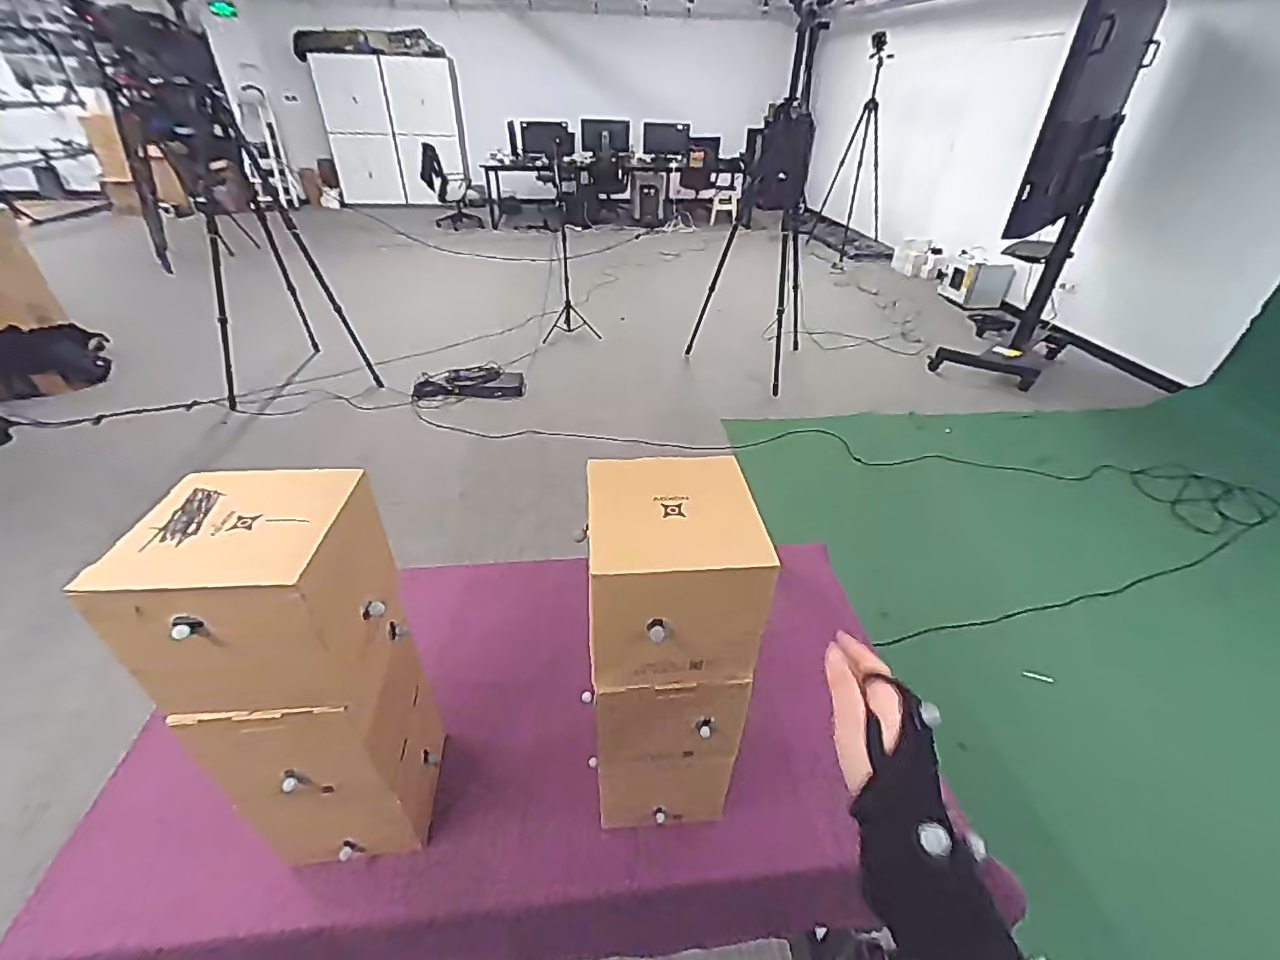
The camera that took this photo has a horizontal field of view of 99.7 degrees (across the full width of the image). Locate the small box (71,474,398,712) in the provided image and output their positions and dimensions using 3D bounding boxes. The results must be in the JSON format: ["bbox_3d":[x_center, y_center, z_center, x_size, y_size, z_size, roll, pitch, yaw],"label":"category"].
[{"bbox_3d":[-0.366,0.110,0.536,0.179,0.176,0.168,-1,35,-5],"label":"small box"}]

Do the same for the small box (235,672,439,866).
[{"bbox_3d":[-0.380,0.382,0.722,0.179,0.176,0.168,-3,35,-7],"label":"small box"}]

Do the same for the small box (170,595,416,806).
[{"bbox_3d":[-0.375,0.244,0.630,0.168,0.176,0.179,-3,36,-5],"label":"small box"}]

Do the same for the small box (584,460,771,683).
[{"bbox_3d":[0.027,0.098,0.575,0.168,0.176,0.179,-2,35,-6],"label":"small box"}]

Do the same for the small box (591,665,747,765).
[{"bbox_3d":[0.024,0.230,0.669,0.168,0.176,0.179,-2,36,-6],"label":"small box"}]
